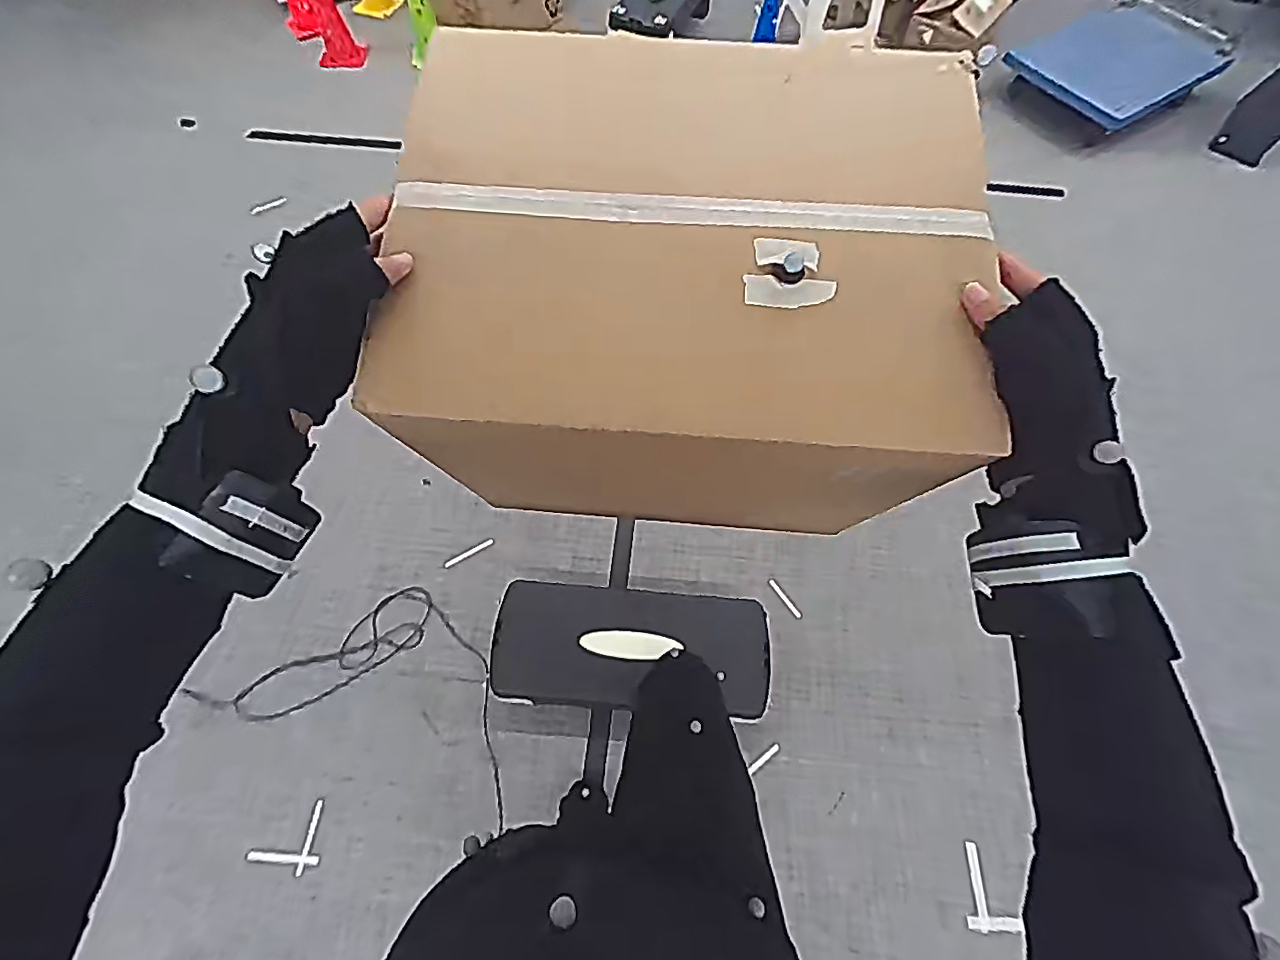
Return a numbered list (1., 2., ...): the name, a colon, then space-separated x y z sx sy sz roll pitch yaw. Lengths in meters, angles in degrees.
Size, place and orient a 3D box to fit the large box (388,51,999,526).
1. large box: 0.041 -0.142 0.528 0.408 0.320 0.320 4 76 1
